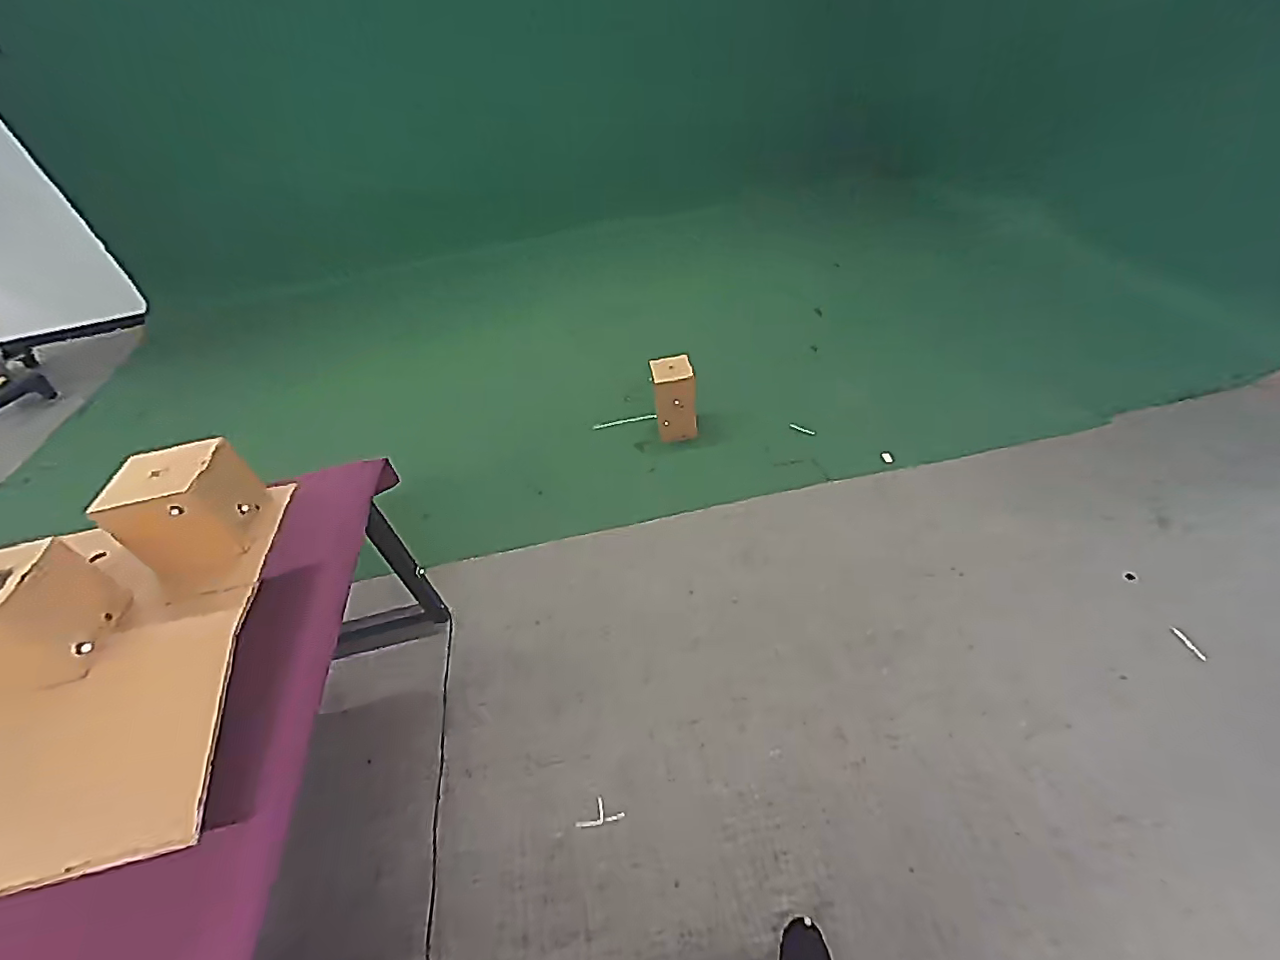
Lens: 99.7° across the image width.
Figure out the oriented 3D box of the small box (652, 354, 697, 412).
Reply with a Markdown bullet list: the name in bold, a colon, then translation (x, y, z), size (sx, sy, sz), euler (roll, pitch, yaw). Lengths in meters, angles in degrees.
- **small box**: translation (0.149, -0.420, 2.349), size (0.168, 0.176, 0.179), euler (-10, 45, 0)

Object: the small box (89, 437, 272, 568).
- **small box**: translation (-0.860, 0.046, 1.035), size (0.179, 0.176, 0.168), euler (-13, 42, -5)

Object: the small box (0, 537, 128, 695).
- **small box**: translation (-0.995, 0.222, 0.864), size (0.179, 0.176, 0.168), euler (-14, 42, -4)
